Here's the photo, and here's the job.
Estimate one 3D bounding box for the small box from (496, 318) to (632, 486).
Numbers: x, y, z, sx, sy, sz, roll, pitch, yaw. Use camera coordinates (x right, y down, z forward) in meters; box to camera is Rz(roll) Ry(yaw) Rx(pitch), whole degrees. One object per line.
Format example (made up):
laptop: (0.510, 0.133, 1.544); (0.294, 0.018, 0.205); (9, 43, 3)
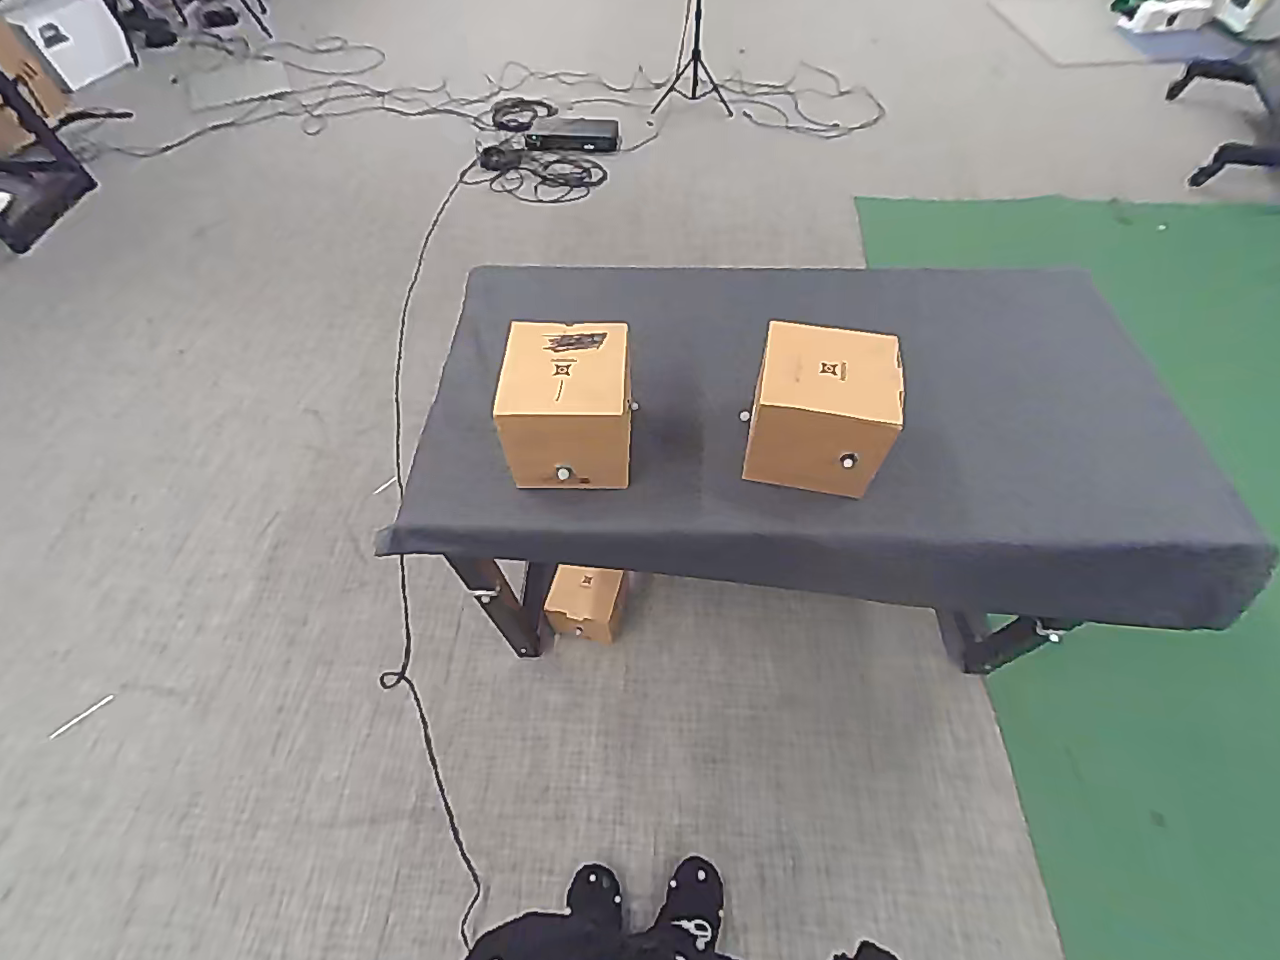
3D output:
small box: (-0.097, -0.111, 0.786); (0.168, 0.176, 0.179); (1, 56, 1)

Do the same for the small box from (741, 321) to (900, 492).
small box: (0.252, -0.101, 0.780); (0.179, 0.176, 0.168); (9, 55, 8)
